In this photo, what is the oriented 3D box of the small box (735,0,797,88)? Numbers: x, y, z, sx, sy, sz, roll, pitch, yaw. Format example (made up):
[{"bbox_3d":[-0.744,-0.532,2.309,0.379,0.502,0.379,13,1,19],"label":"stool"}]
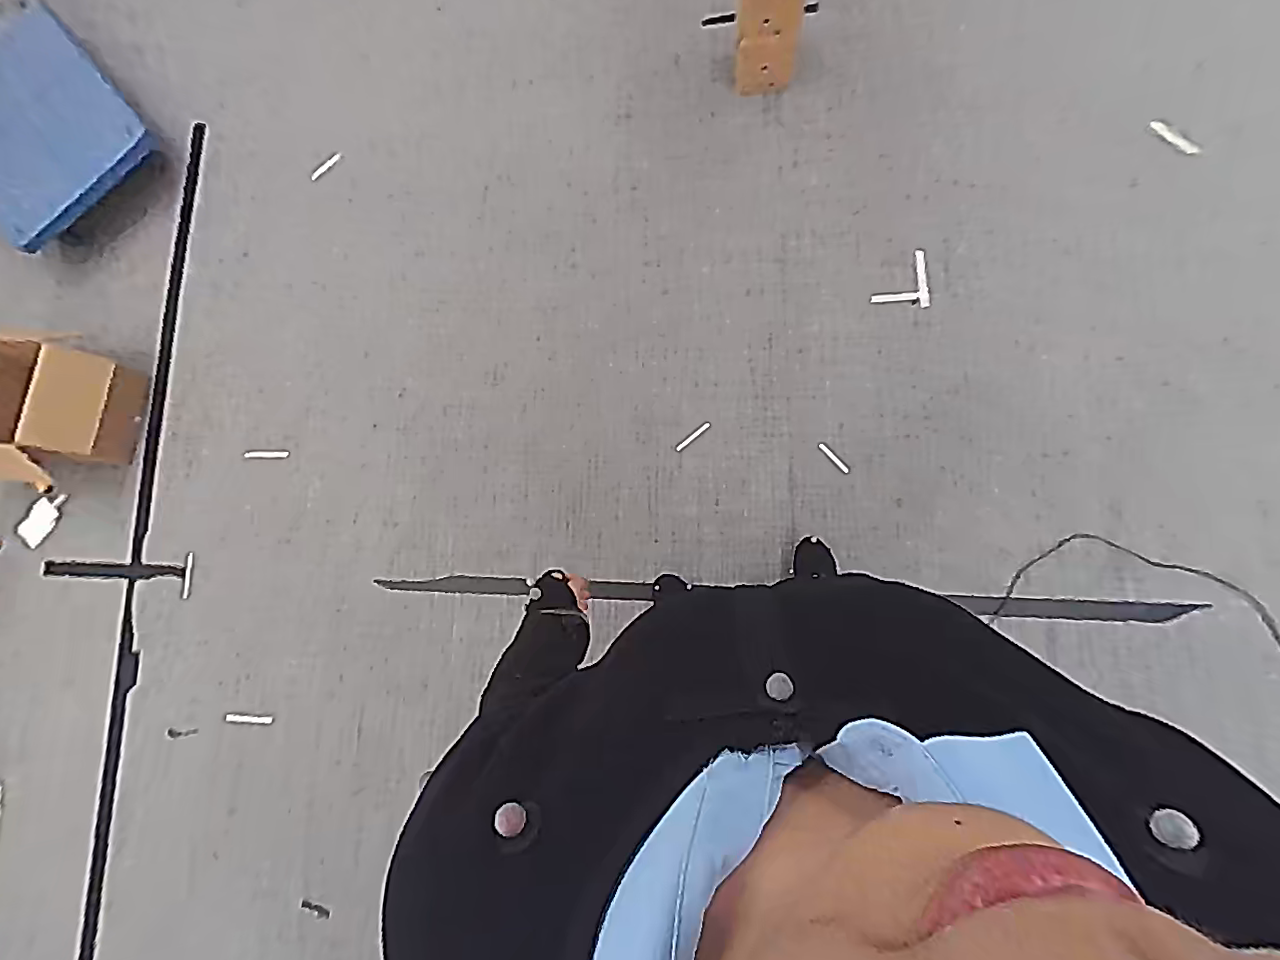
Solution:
[{"bbox_3d":[0.374,-1.318,1.625,0.168,0.176,0.179,-2,81,7],"label":"small box"}]

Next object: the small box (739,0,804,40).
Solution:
[{"bbox_3d":[0.357,-1.350,1.466,0.168,0.176,0.179,0,83,8],"label":"small box"}]
